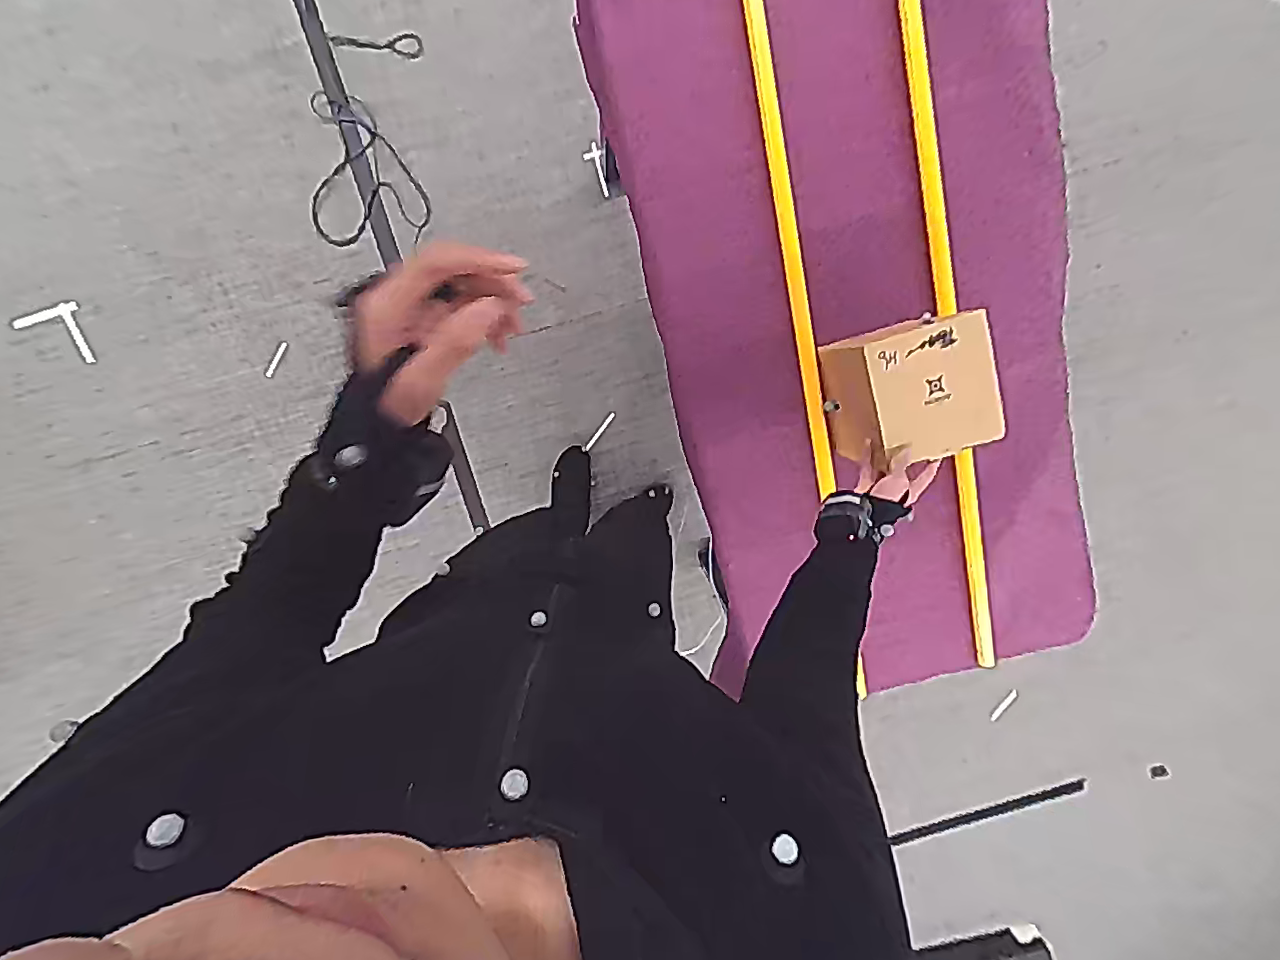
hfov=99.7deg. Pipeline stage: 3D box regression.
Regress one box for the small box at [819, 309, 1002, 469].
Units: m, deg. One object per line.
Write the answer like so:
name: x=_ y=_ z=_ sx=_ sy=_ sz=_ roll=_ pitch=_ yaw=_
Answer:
small box: x=0.380 y=-0.135 z=0.782 sx=0.168 sy=0.176 sz=0.179 roll=-16 pitch=103 yaw=0
